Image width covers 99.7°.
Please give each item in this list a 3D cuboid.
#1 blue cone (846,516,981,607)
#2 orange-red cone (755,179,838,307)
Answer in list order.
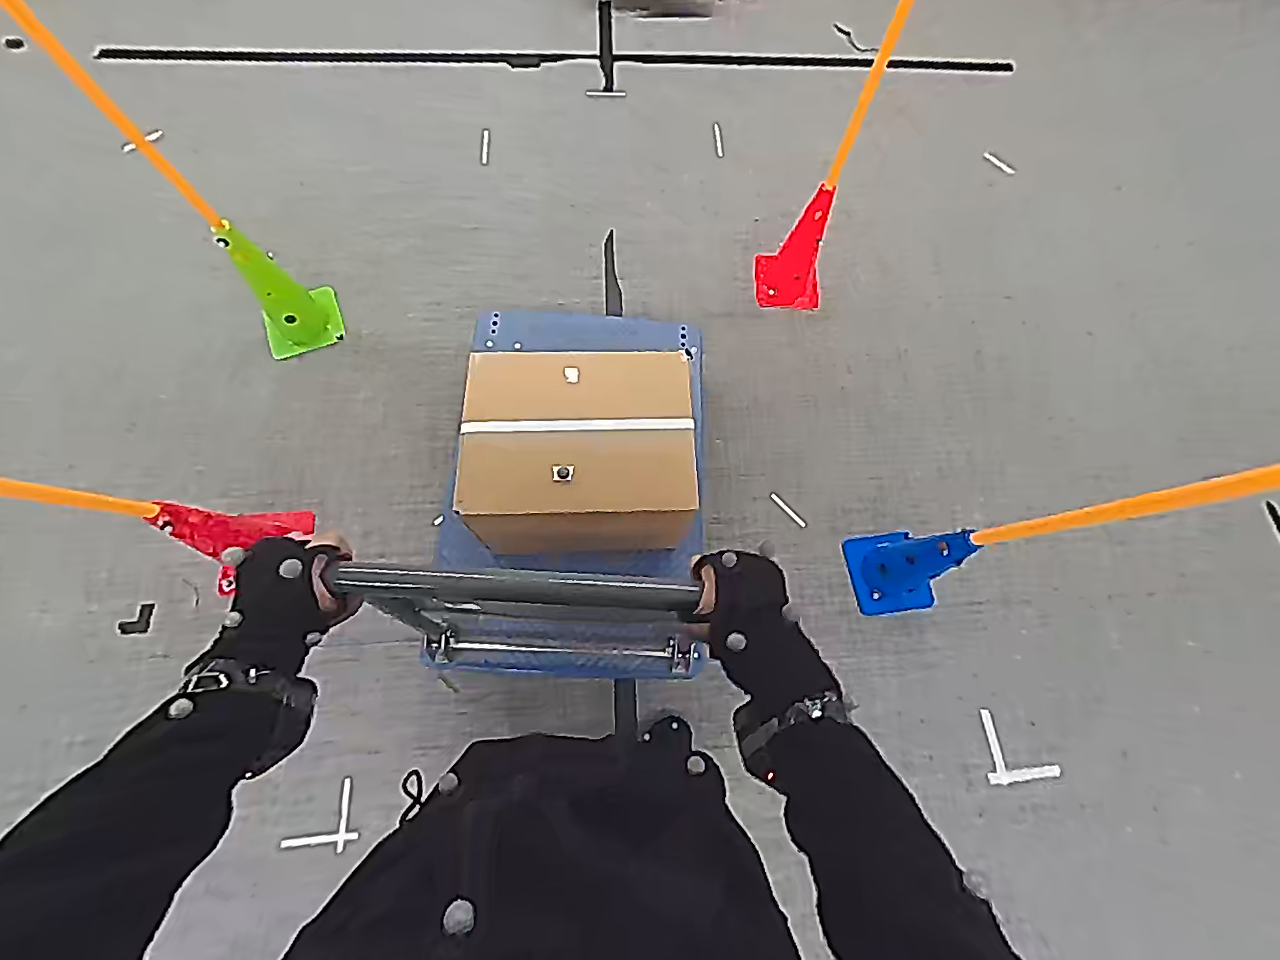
[{"bbox_3d":[0.647,0.164,1.232,0.193,0.380,0.192,-6,69,-6],"label":"blue cone"},{"bbox_3d":[0.469,-0.683,1.516,0.199,0.360,0.198,4,70,-3],"label":"orange-red cone"}]
